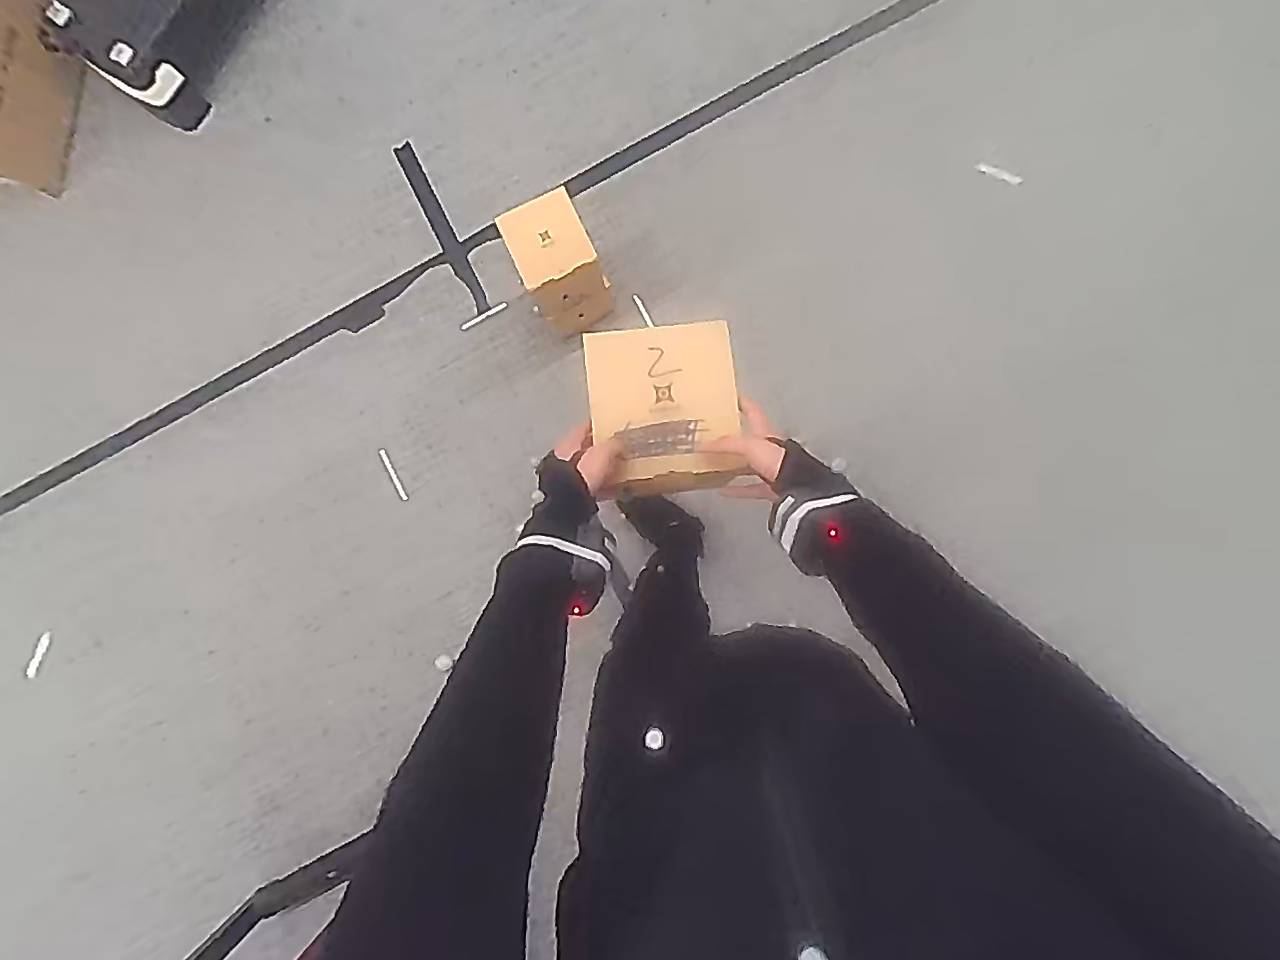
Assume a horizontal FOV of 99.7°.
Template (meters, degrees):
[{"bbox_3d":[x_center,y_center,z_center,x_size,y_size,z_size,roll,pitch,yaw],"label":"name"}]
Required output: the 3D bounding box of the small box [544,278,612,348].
[{"bbox_3d":[-0.183,-0.467,1.384,0.179,0.176,0.168,-30,87,1],"label":"small box"}]

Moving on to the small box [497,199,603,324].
[{"bbox_3d":[-0.196,-0.483,1.222,0.168,0.176,0.179,-26,88,0],"label":"small box"}]
